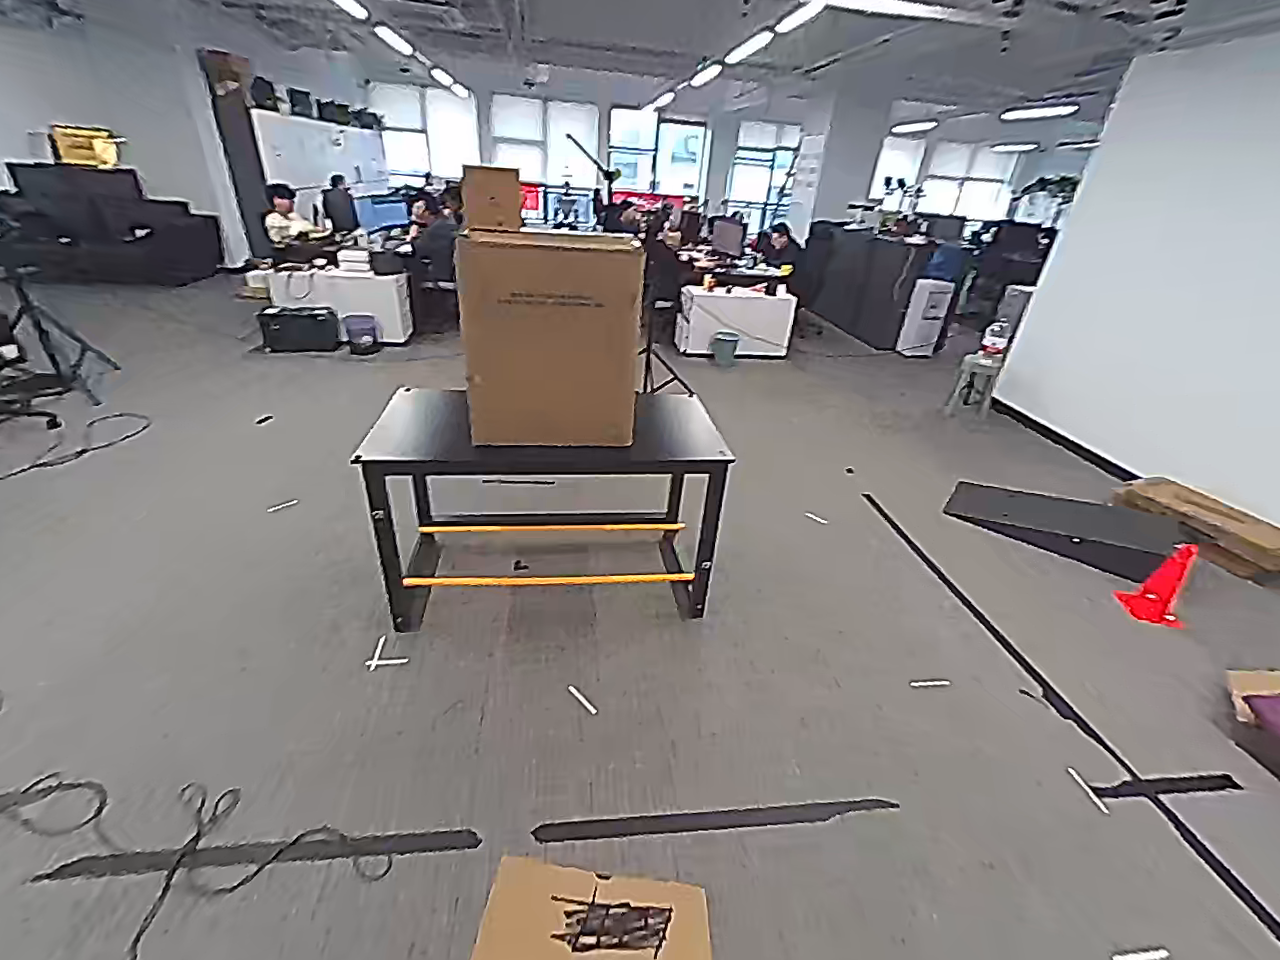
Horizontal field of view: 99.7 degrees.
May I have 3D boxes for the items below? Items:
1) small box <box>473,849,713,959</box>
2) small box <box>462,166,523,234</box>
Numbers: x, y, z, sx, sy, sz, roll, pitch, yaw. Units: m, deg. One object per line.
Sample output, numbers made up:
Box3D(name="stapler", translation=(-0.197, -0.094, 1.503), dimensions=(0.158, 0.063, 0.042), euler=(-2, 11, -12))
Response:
Box3D(name="small box", translation=(-0.043, 0.404, 0.366), dimensions=(0.168, 0.176, 0.179), euler=(9, 13, -1))
Box3D(name="small box", translation=(-0.439, -0.846, 1.633), dimensions=(0.168, 0.176, 0.179), euler=(-1, 29, -12))
